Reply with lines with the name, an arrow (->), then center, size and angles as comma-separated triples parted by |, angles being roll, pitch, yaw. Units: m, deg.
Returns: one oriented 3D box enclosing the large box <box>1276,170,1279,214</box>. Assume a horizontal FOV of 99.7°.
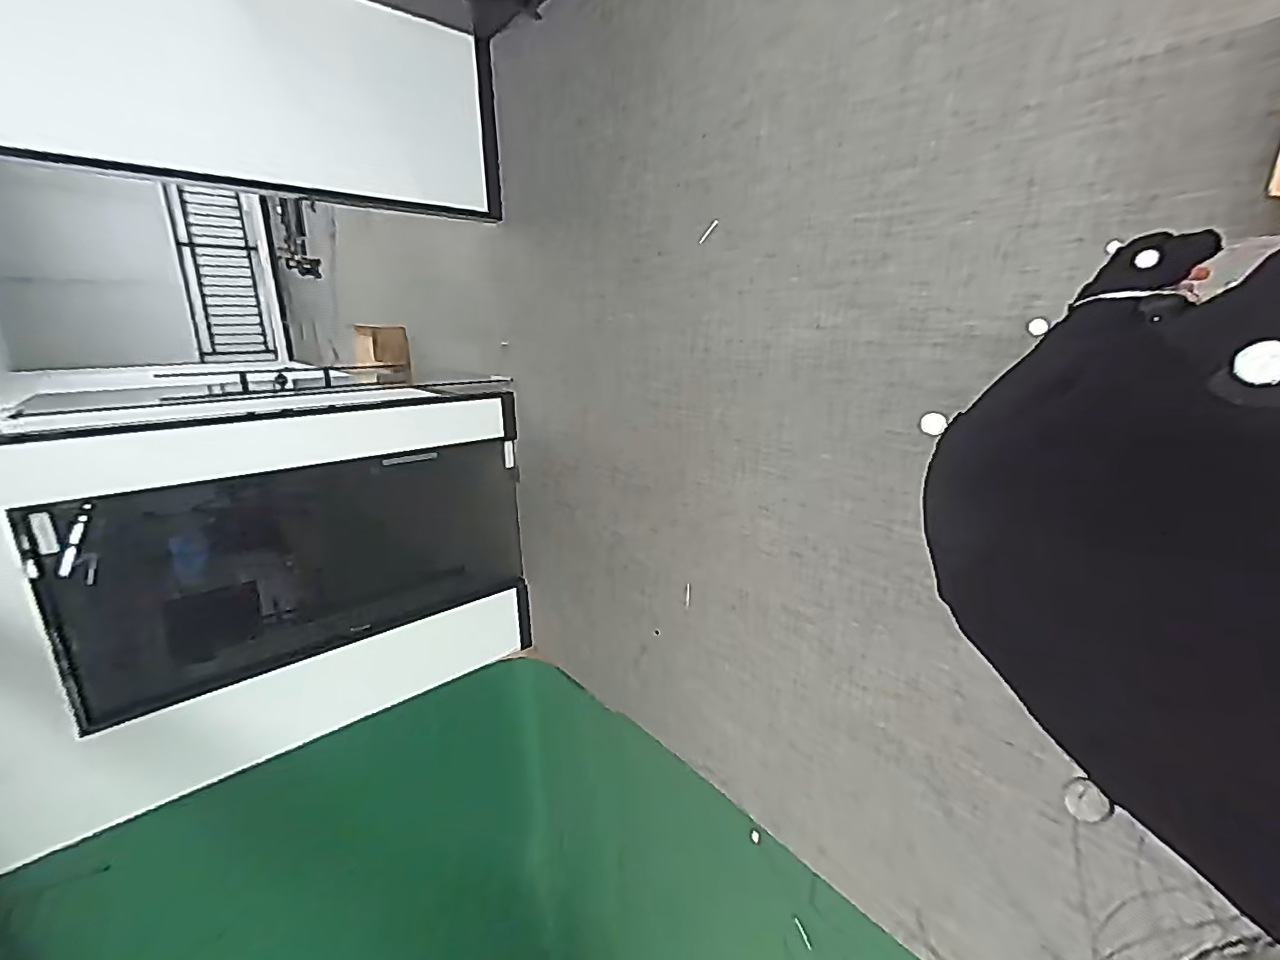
large box -> 1.129, -0.542, 0.667 | 0.408, 0.320, 0.320 | 18, 115, 47
